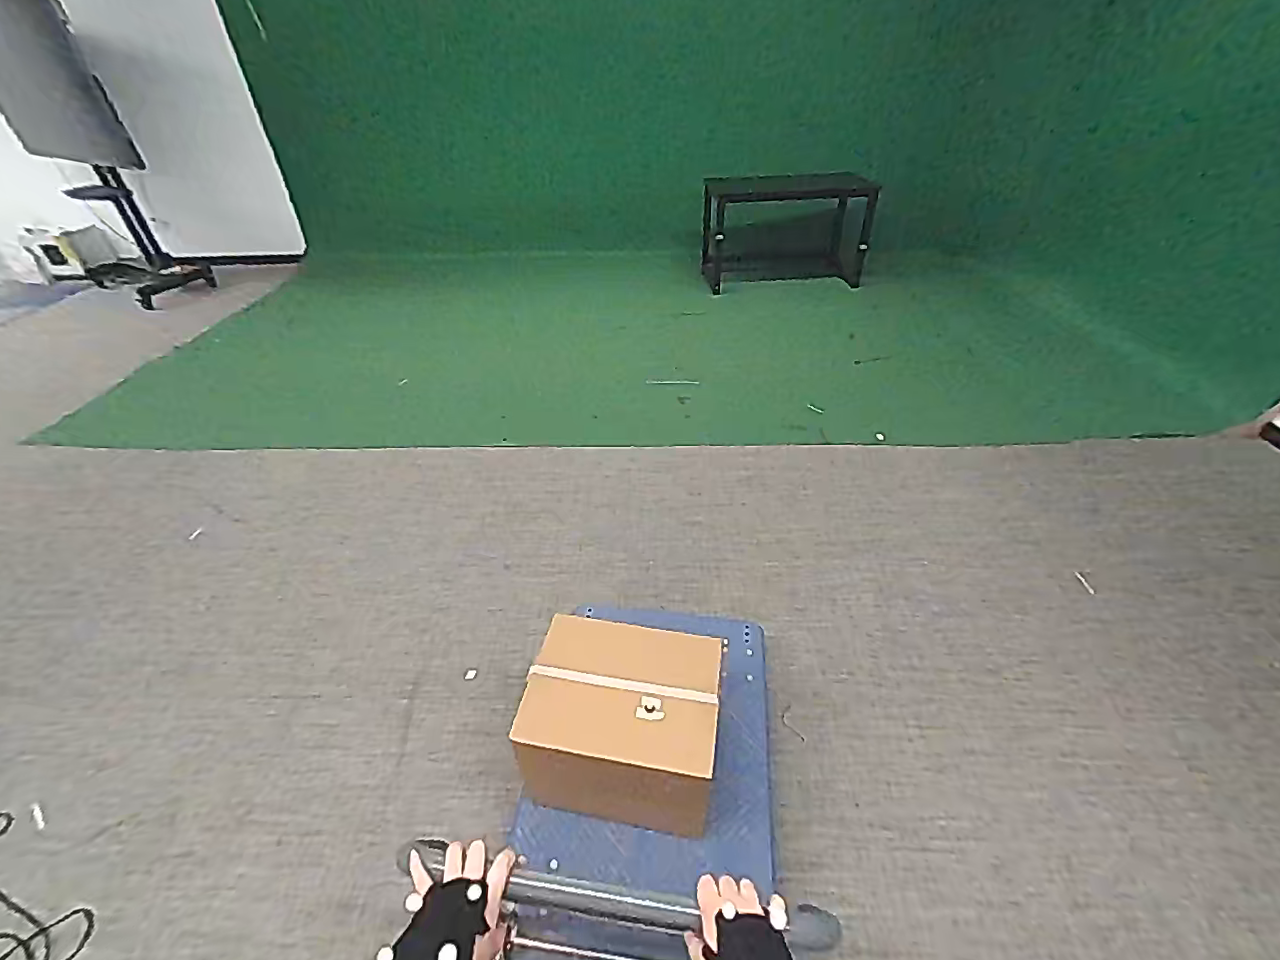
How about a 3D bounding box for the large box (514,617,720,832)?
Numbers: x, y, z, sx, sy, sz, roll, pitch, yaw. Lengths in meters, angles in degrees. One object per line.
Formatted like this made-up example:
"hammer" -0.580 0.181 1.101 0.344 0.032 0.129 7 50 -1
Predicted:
"large box" -0.038 0.563 1.262 0.408 0.320 0.320 7 39 8
